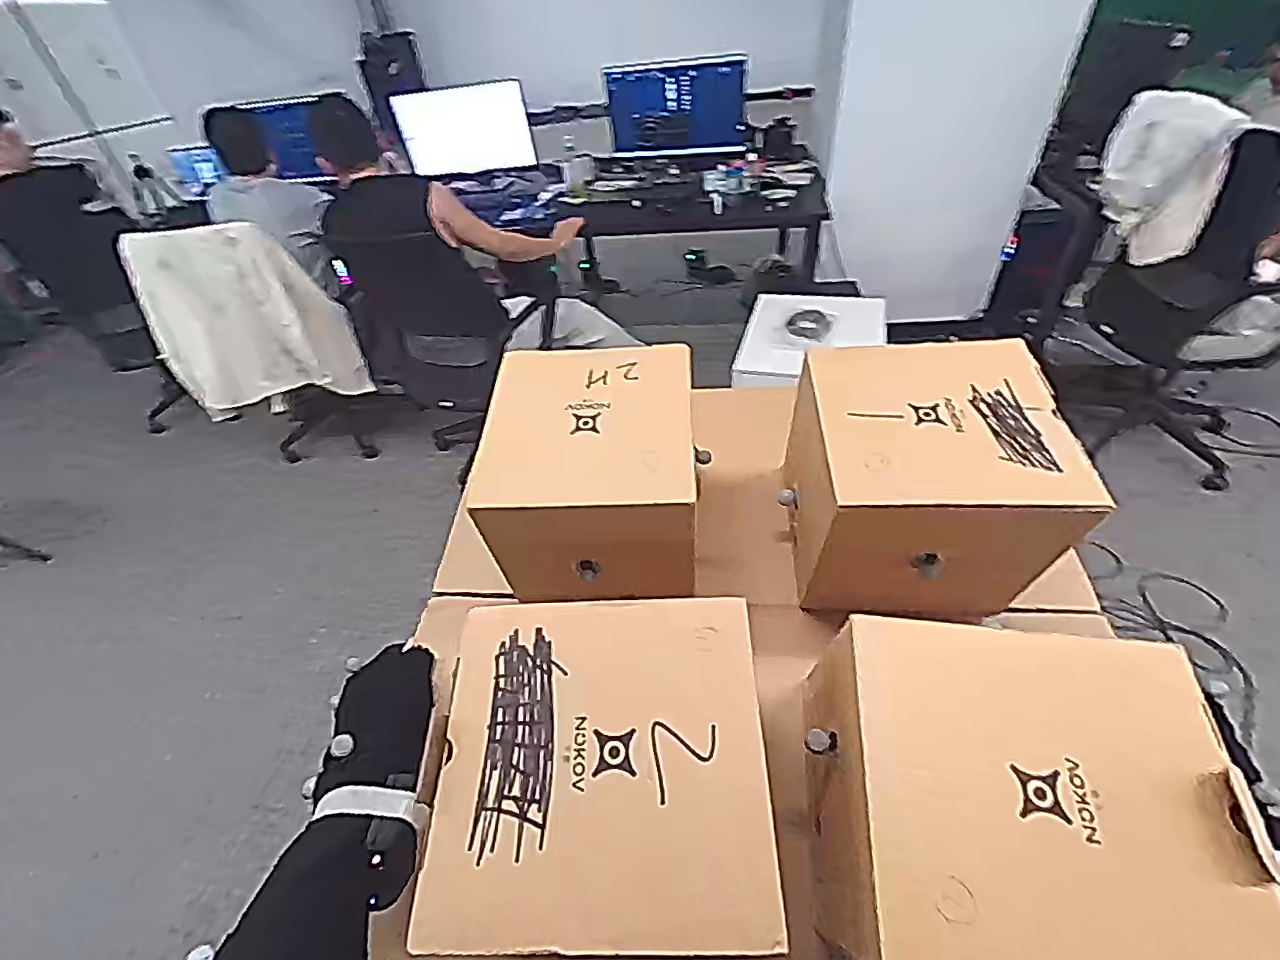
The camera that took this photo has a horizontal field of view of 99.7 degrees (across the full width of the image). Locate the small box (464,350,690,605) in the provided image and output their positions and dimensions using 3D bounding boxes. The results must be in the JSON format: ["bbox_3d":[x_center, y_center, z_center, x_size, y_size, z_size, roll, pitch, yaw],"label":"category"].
[{"bbox_3d":[-0.038,0.004,0.496,0.168,0.176,0.179,-1,52,4],"label":"small box"}]
